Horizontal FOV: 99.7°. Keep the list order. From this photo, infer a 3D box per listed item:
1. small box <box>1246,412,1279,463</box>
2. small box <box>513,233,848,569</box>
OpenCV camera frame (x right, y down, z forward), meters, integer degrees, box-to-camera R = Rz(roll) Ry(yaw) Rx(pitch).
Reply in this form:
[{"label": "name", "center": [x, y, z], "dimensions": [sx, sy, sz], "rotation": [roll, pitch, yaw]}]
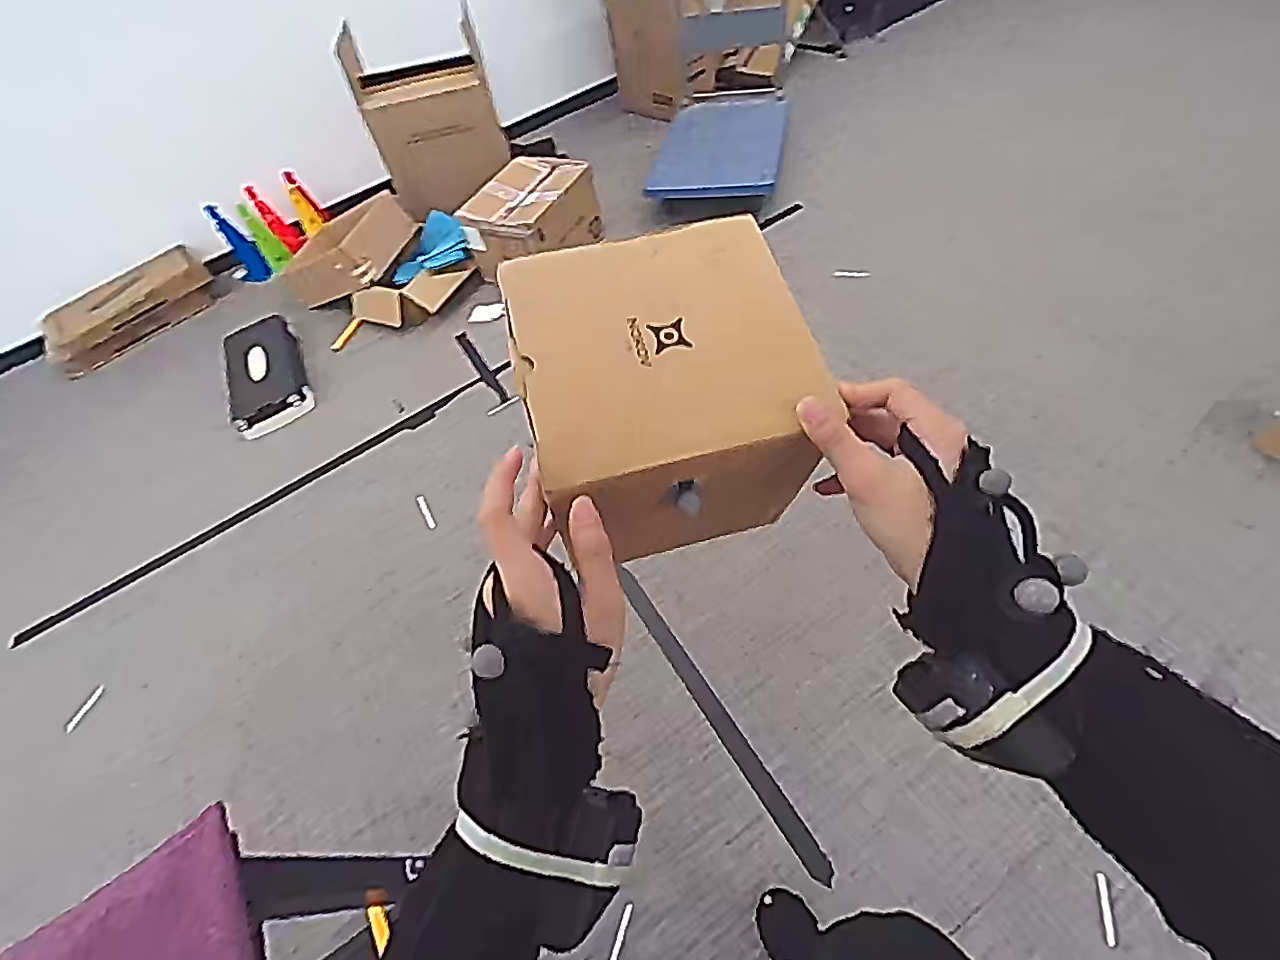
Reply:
[{"label": "small box", "center": [1.715, -0.126, 1.351], "dimensions": [0.168, 0.176, 0.179], "rotation": [-32, 54, -11]}, {"label": "small box", "center": [0.019, -0.047, 0.405], "dimensions": [0.179, 0.176, 0.168], "rotation": [-13, 67, -5]}]
